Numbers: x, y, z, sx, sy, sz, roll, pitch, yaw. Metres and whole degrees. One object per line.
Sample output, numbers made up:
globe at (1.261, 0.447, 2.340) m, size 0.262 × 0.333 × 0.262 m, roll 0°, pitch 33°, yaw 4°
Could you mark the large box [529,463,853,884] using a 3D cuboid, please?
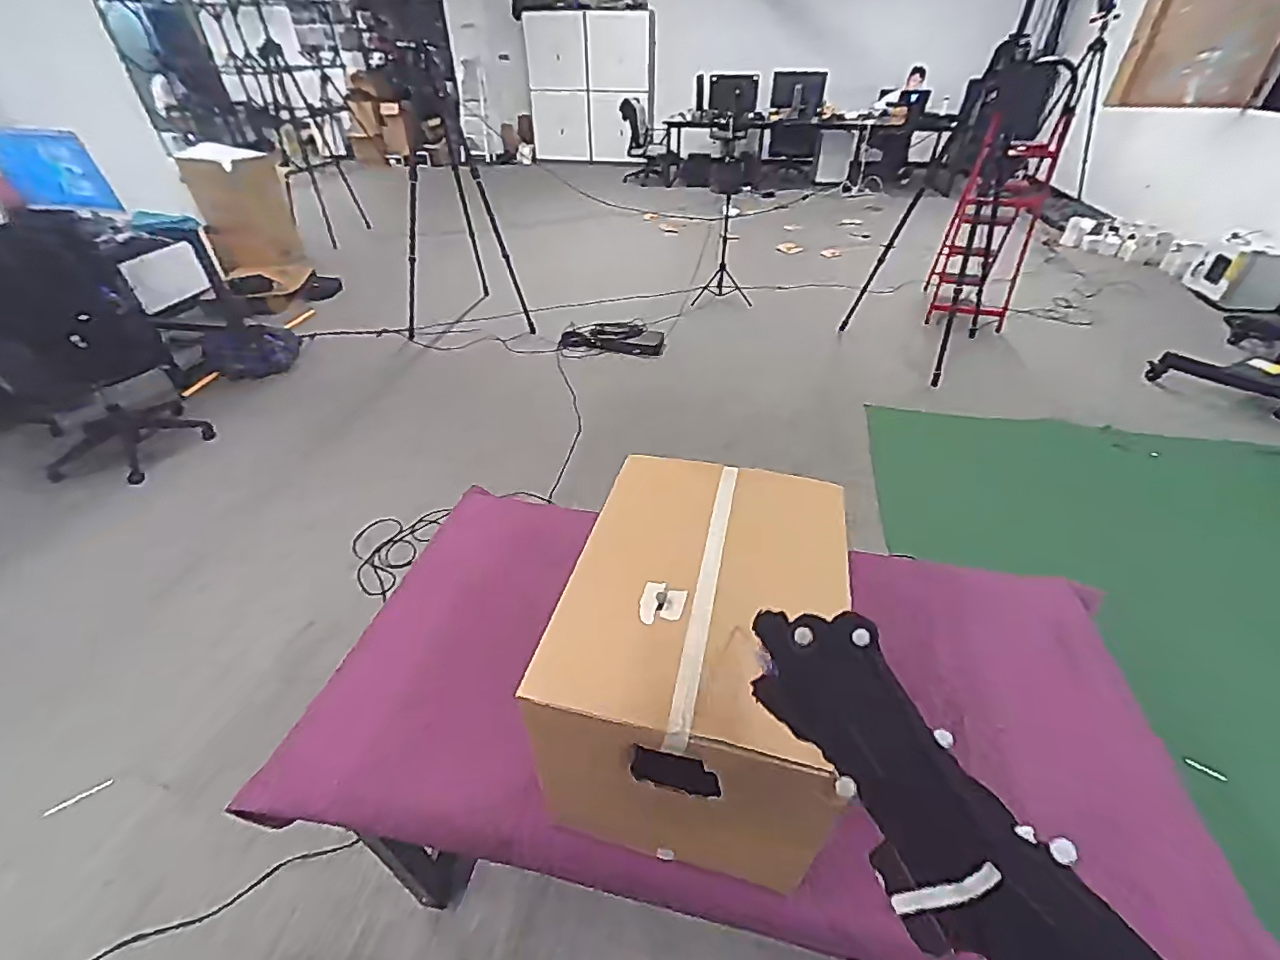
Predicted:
large box at (0.081, 0.233, 0.738) m, size 0.320 × 0.320 × 0.408 m, roll 9°, pitch 40°, yaw 11°
